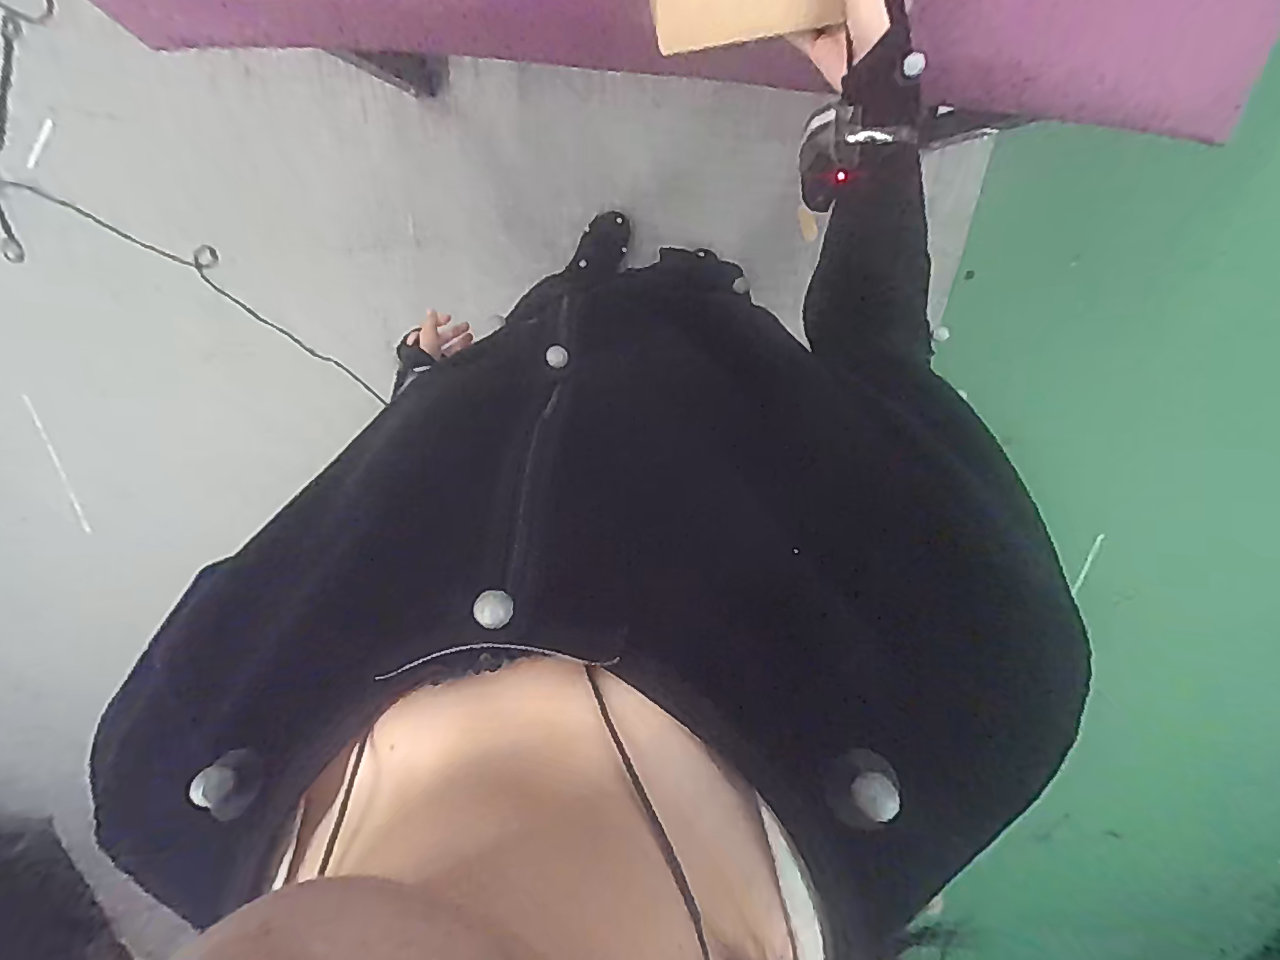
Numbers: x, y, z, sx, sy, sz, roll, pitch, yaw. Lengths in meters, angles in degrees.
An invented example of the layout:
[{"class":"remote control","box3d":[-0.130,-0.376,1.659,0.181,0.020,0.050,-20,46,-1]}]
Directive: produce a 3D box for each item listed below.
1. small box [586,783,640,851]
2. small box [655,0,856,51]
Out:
[{"class":"small box","box3d":[-0.098,1.305,2.101,0.179,0.176,0.168,-9,114,8]},{"class":"small box","box3d":[0.086,-0.491,0.433,0.168,0.176,0.179,-6,146,5]}]
